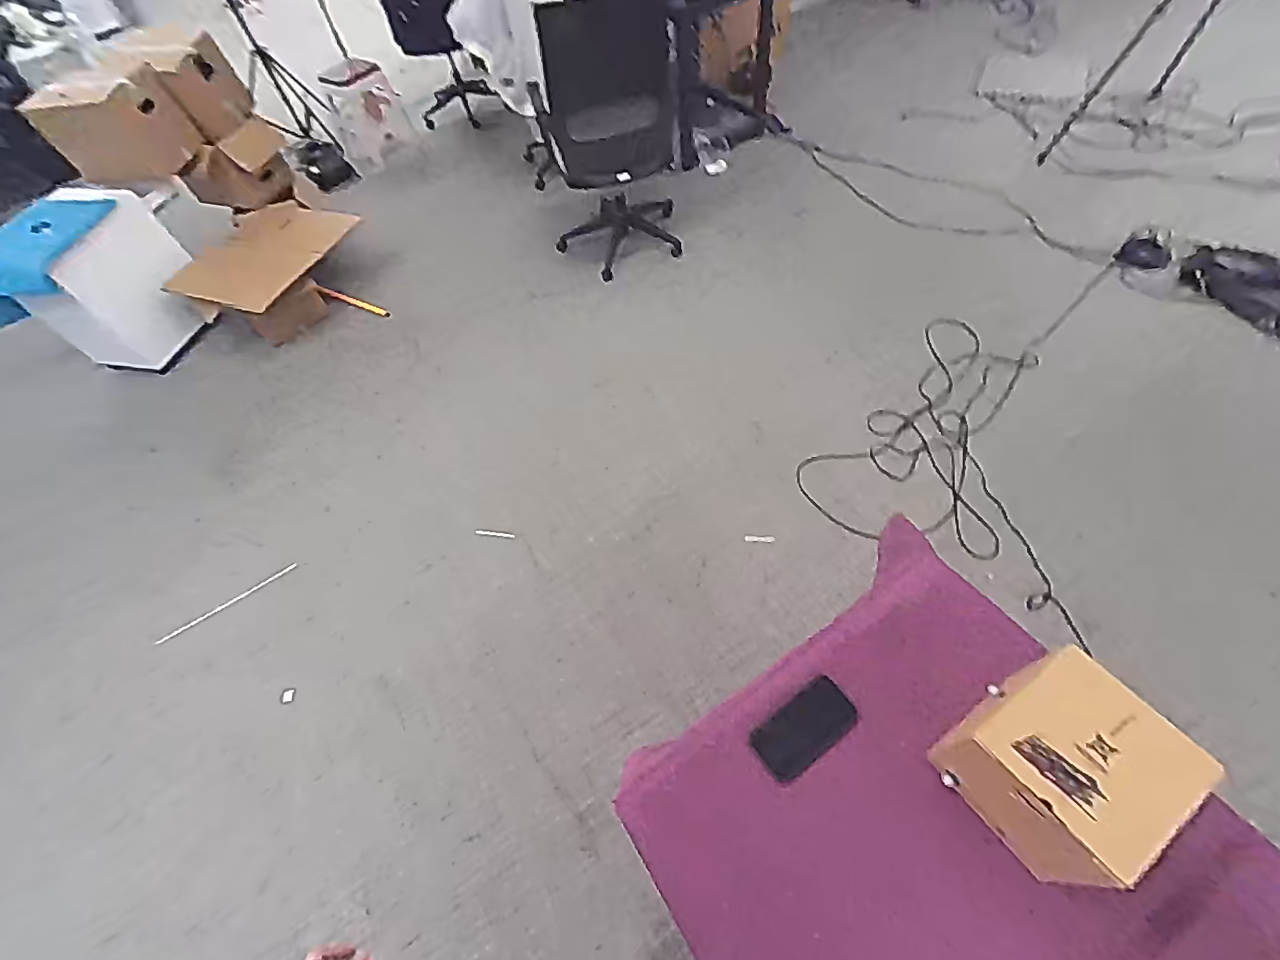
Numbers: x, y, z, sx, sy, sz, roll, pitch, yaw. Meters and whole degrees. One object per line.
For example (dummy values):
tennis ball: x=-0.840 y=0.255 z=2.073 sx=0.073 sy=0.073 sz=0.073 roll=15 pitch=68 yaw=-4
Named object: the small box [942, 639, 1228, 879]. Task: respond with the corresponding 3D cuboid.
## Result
small box: x=0.489 y=0.325 z=0.631 sx=0.179 sy=0.176 sz=0.168 roll=-33 pitch=58 yaw=-14
